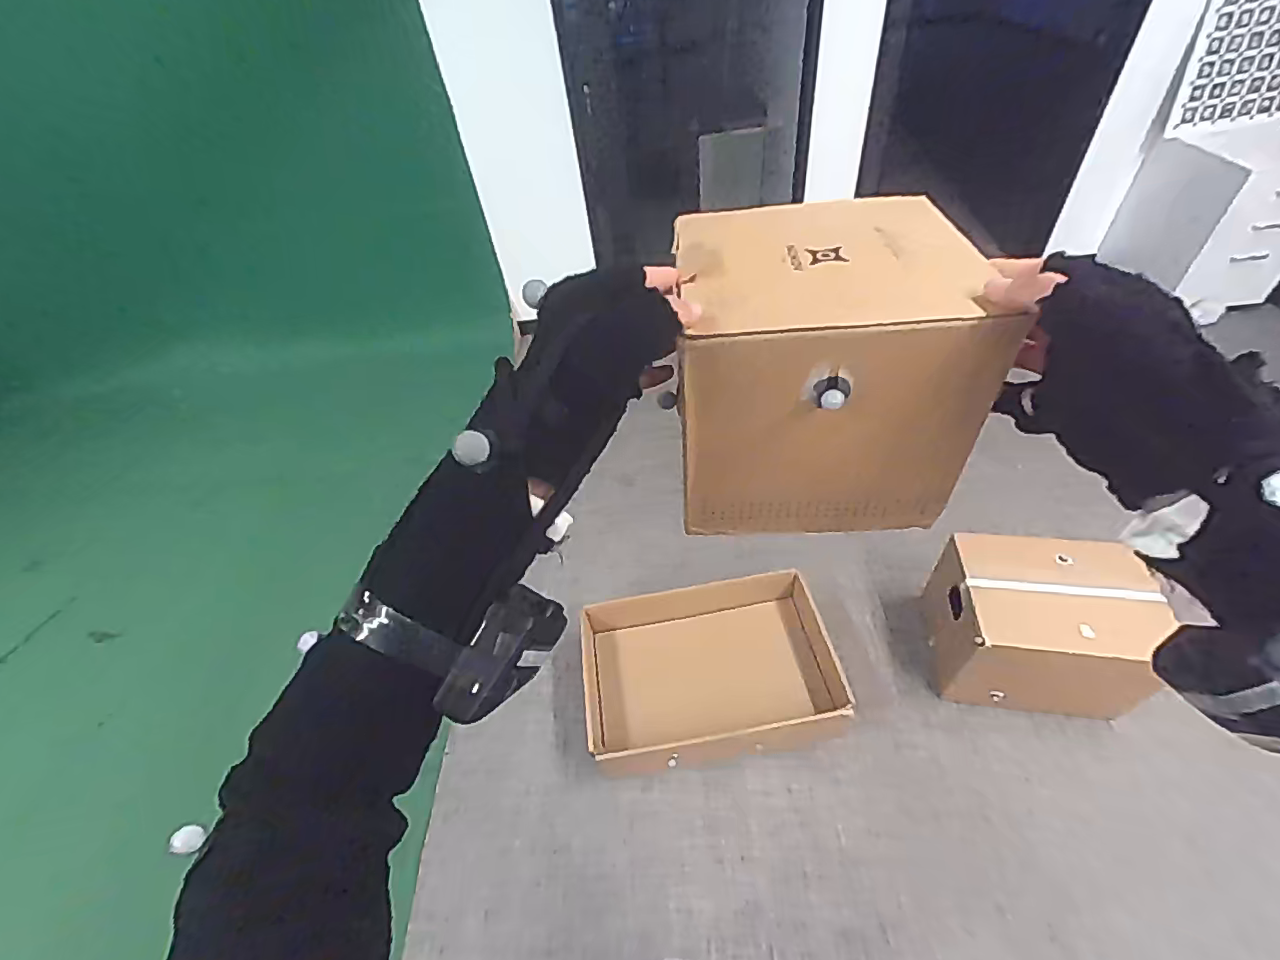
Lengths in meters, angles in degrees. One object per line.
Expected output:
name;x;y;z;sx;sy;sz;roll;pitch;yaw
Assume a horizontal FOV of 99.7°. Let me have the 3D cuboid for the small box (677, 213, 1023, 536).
small box;0.118;-0.072;0.390;0.179;0.176;0.168;-1;45;4
